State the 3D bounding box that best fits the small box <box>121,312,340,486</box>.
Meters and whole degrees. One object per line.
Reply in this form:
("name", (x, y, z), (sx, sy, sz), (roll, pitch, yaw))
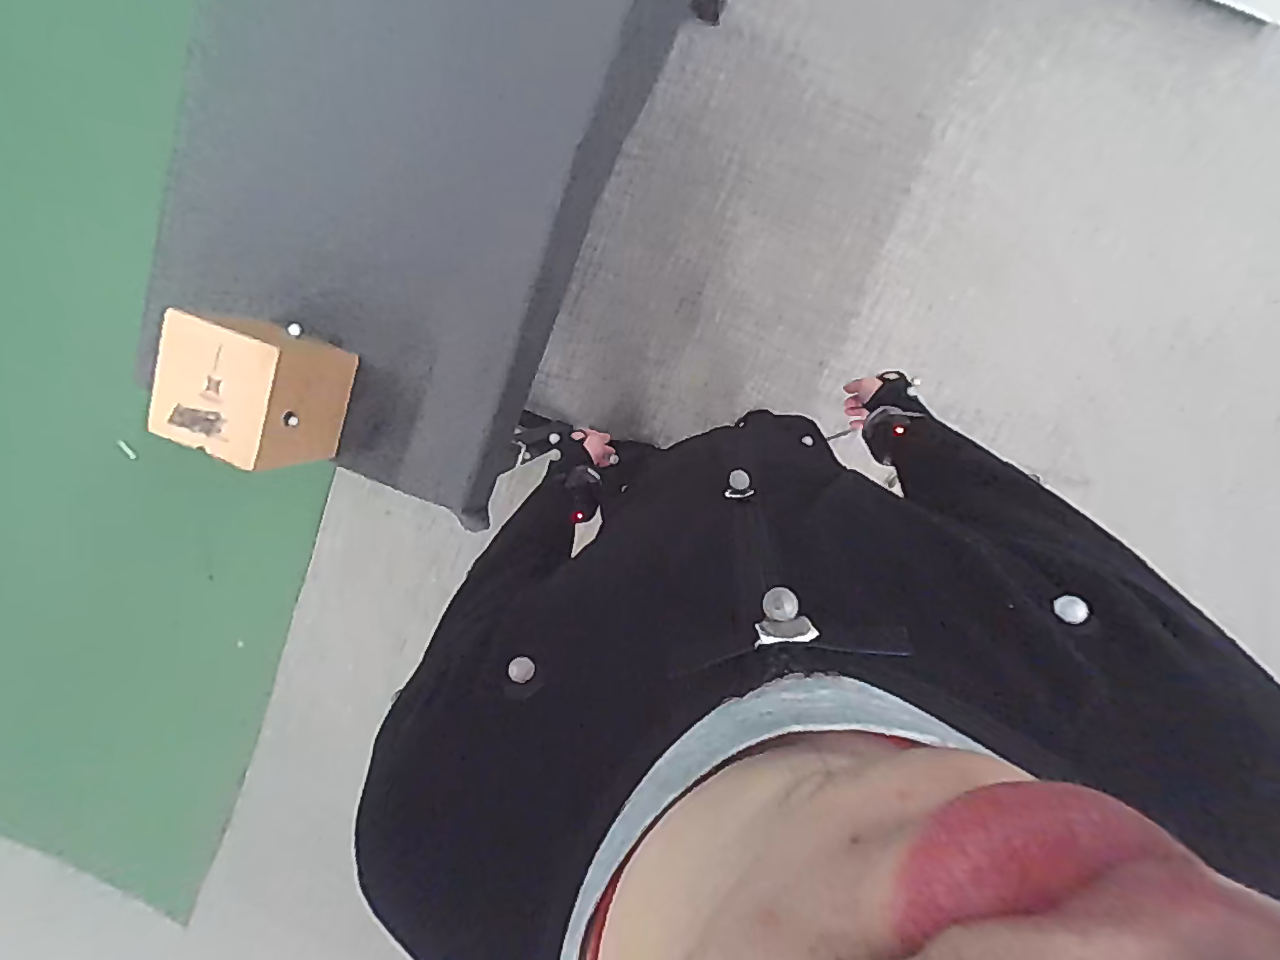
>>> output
("small box", (-0.552, -0.112, 0.751), (0.168, 0.176, 0.179), (19, 100, 1))
